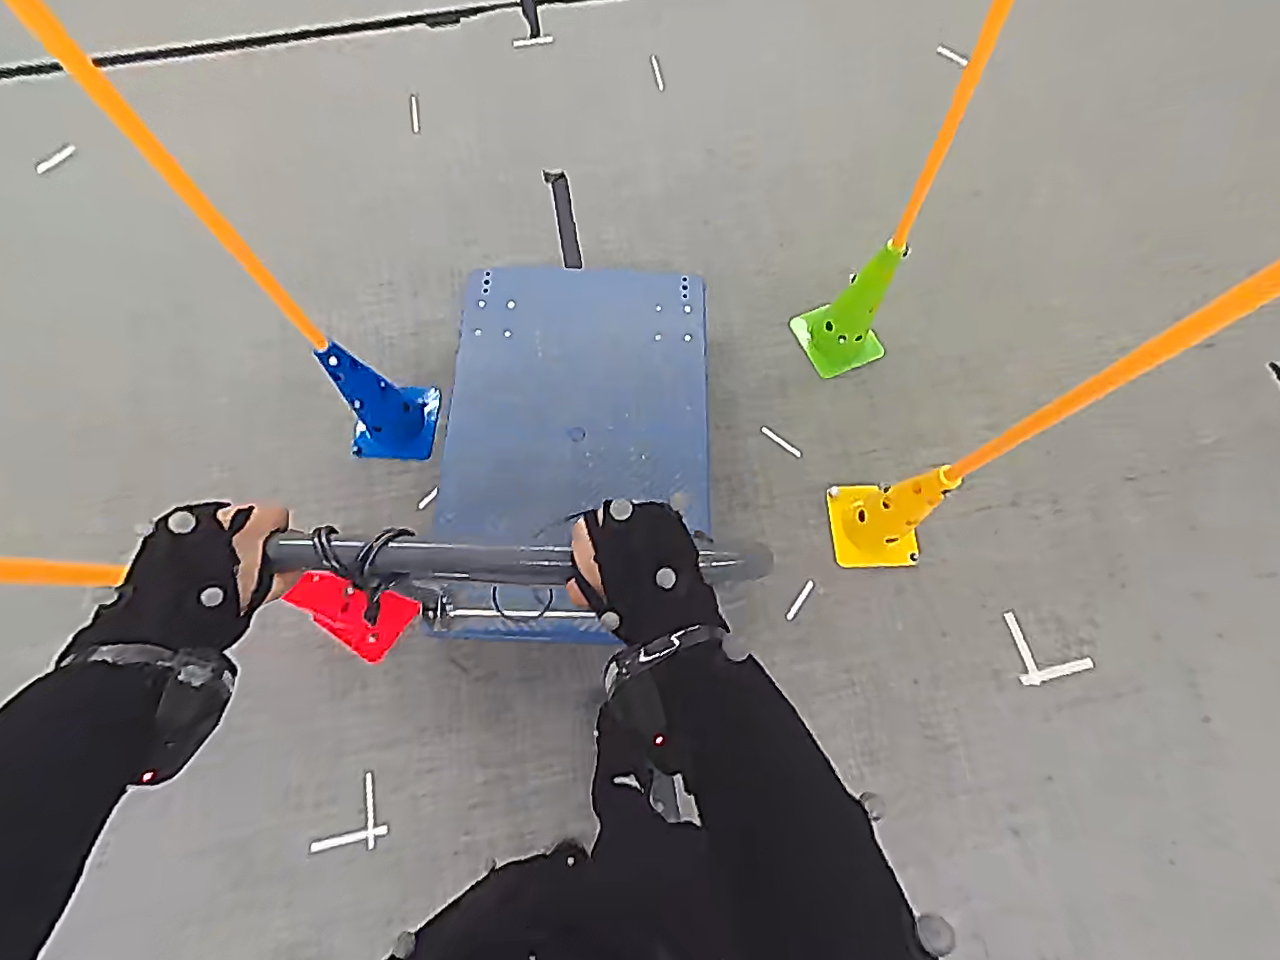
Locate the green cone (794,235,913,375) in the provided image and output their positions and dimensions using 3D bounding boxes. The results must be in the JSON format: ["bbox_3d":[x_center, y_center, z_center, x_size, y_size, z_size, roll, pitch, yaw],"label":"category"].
[{"bbox_3d":[0.544,-0.445,1.299,0.200,0.368,0.202,-23,74,-8],"label":"green cone"}]

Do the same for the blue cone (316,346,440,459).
[{"bbox_3d":[-0.609,-0.196,1.219,0.193,0.380,0.192,4,72,1],"label":"blue cone"}]

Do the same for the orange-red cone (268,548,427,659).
[{"bbox_3d":[-0.605,0.219,1.063,0.198,0.360,0.199,33,73,9],"label":"orange-red cone"}]
